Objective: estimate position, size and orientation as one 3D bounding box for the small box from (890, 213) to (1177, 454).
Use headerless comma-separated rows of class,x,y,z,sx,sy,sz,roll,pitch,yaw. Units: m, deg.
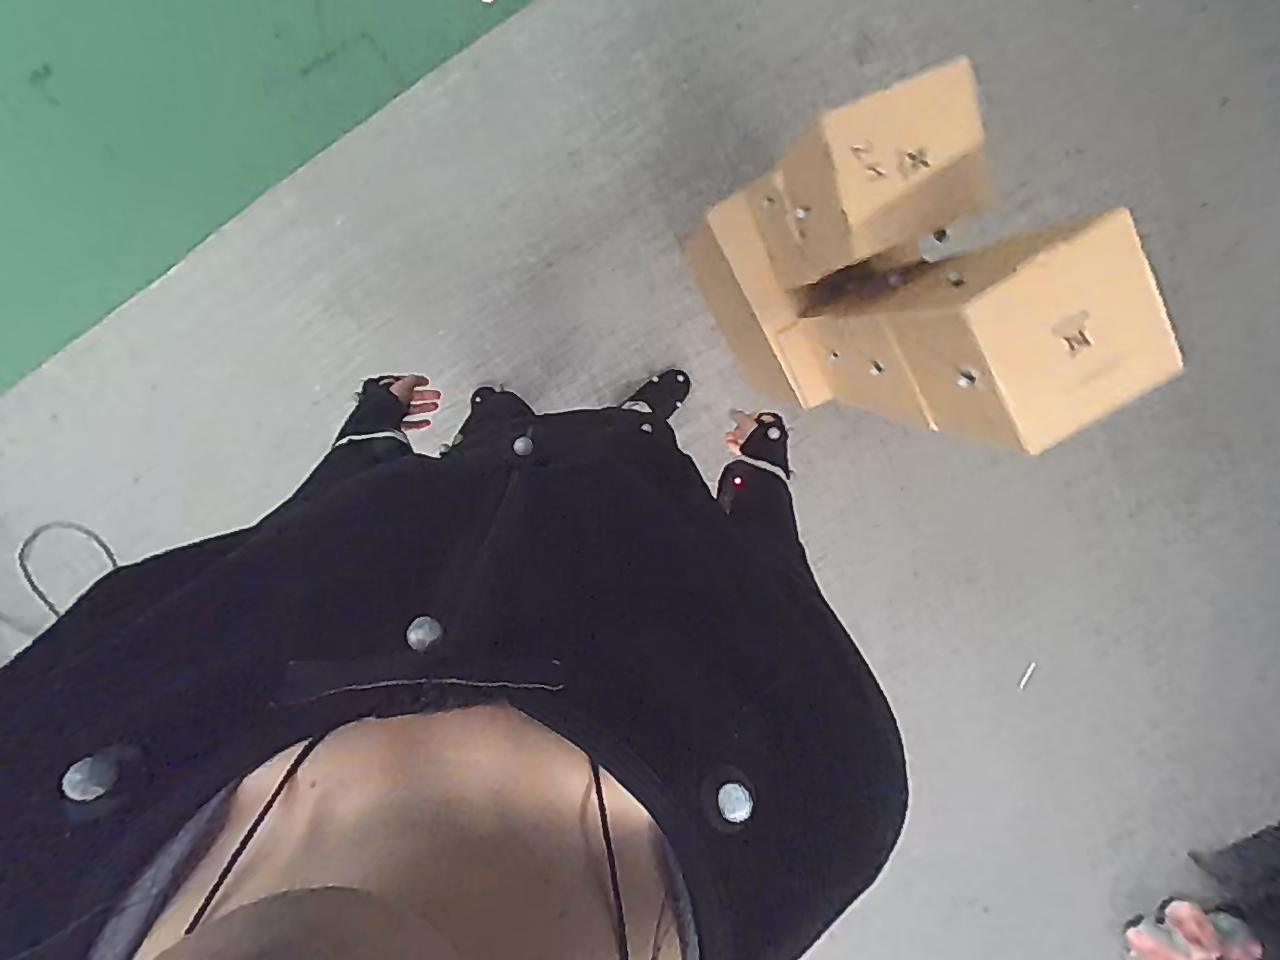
small box,0.414,-0.155,0.599,0.168,0.176,0.179,-31,103,7
